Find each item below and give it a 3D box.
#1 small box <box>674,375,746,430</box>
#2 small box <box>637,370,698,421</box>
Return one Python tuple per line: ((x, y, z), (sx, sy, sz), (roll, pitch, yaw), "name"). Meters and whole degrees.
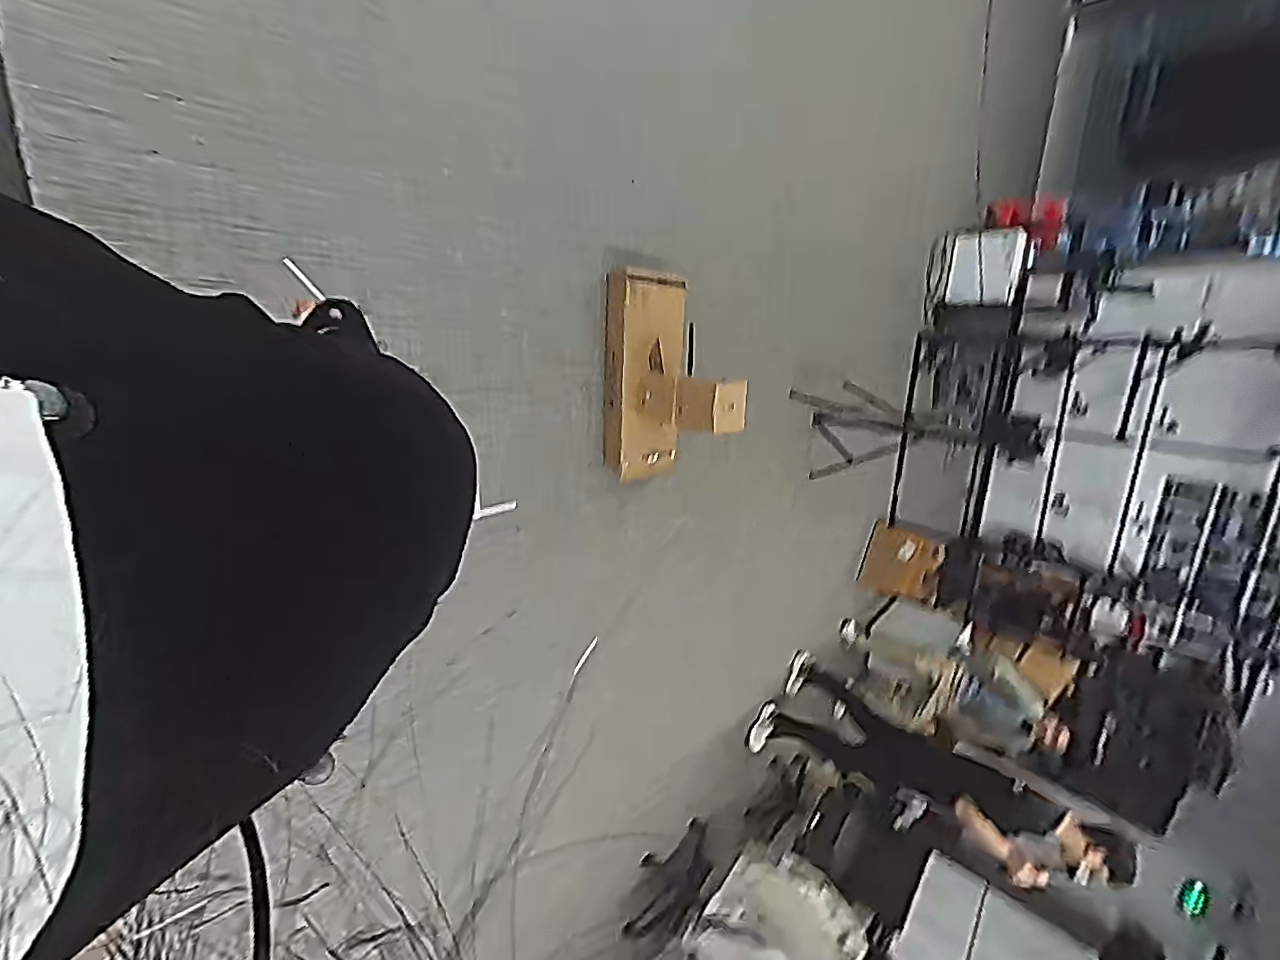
((0.238, -0.269, 1.847), (0.179, 0.176, 0.168), (-13, 110, -42), "small box")
((0.112, -0.306, 1.949), (0.179, 0.176, 0.168), (-7, 106, -43), "small box")
